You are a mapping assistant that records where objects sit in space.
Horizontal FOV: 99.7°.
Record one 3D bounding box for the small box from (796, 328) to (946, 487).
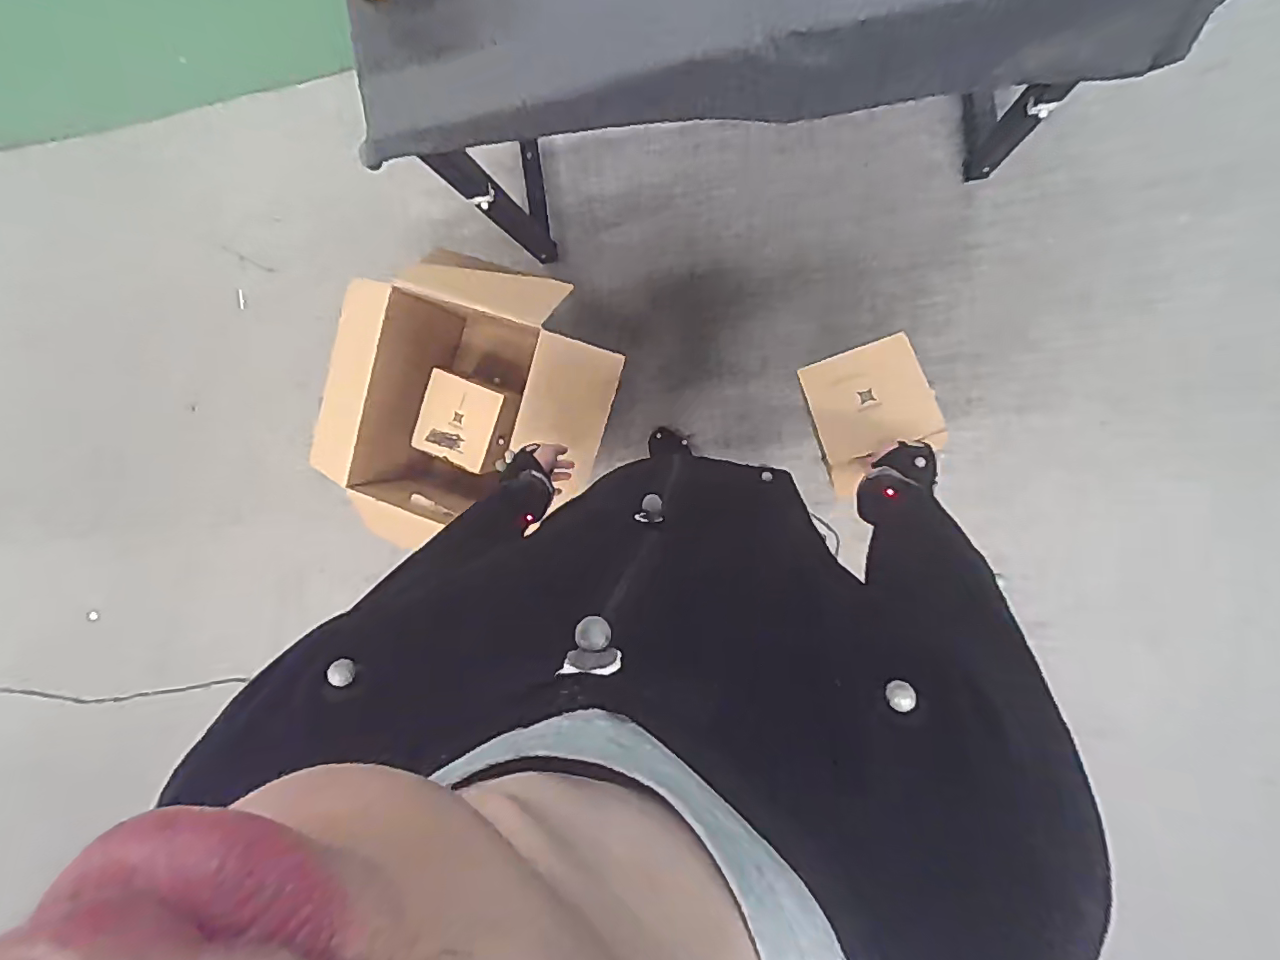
[{"bbox_3d":[0.362,-0.100,0.860,0.168,0.176,0.179,-18,65,16],"label":"small box"}]
